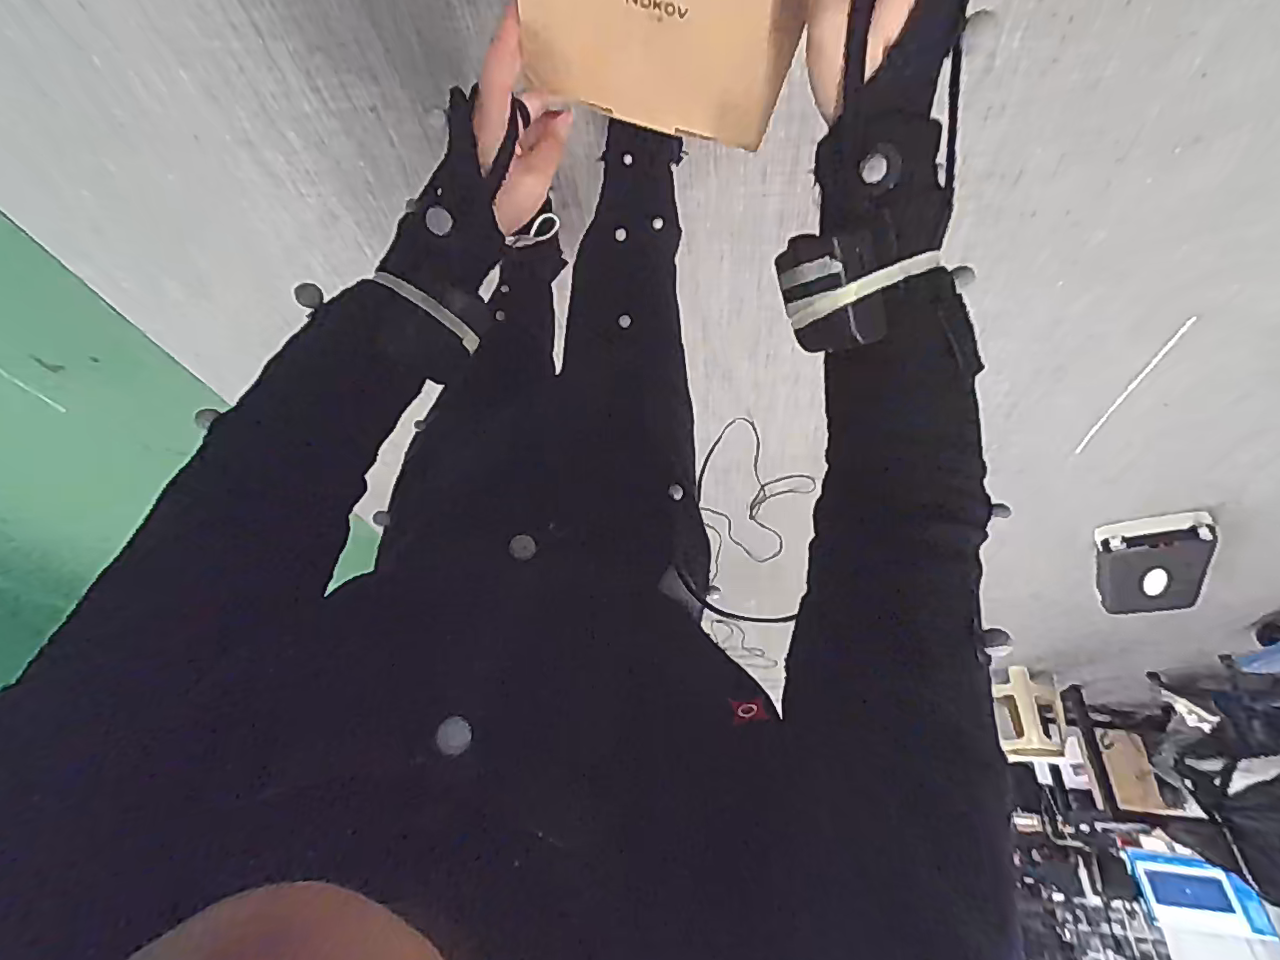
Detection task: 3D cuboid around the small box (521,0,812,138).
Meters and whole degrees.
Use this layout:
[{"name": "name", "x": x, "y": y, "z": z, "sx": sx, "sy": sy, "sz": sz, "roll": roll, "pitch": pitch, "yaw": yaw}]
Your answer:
[{"name": "small box", "x": 0.031, "y": -0.350, "z": 0.307, "sx": 0.168, "sy": 0.176, "sz": 0.179, "roll": 13, "pitch": 162, "yaw": -3}]
